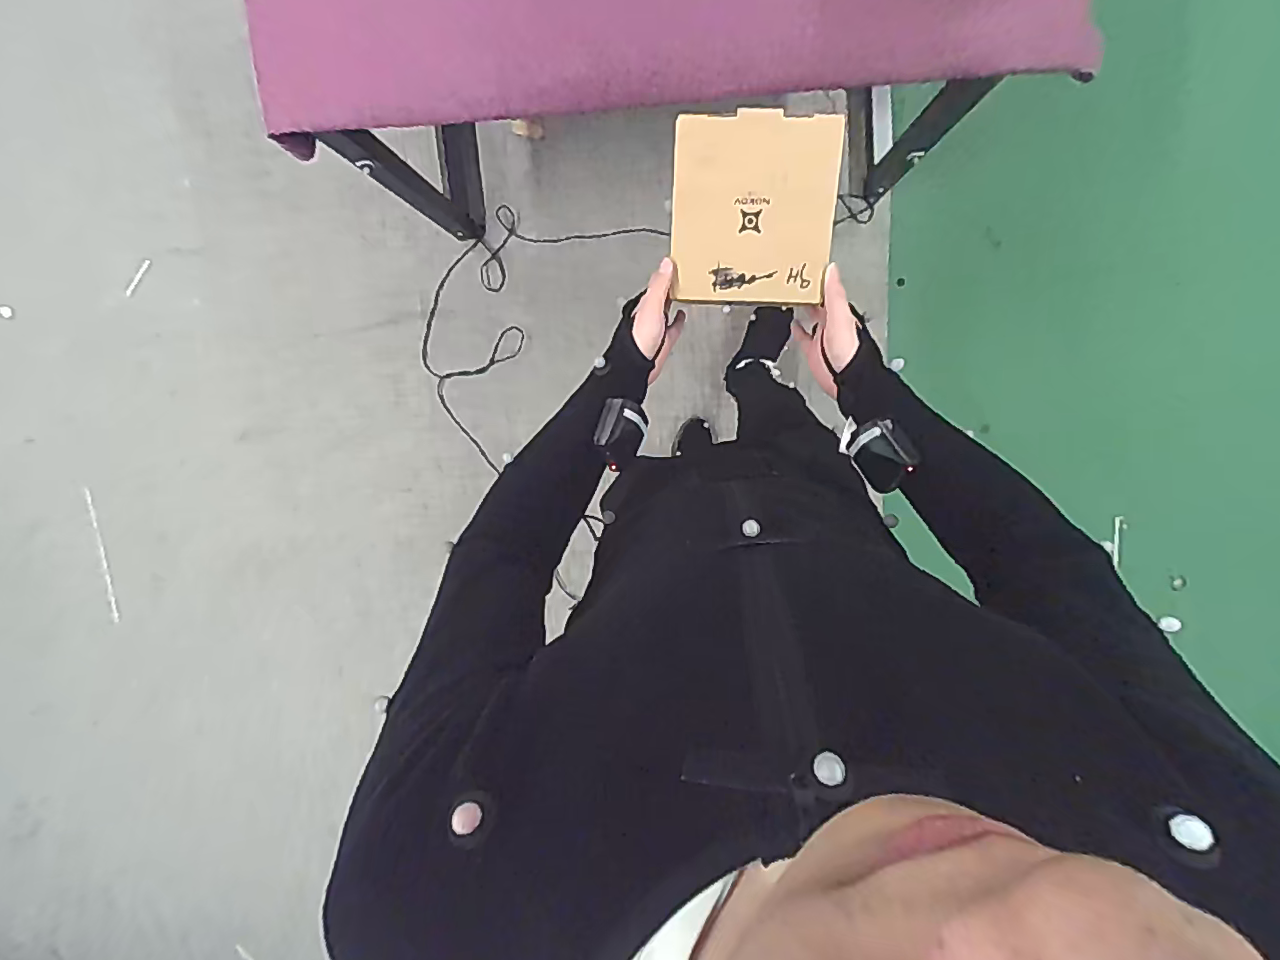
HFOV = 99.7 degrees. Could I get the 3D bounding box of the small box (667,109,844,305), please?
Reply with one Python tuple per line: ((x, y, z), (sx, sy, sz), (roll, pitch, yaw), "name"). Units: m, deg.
((0.121, -0.301, 0.628), (0.168, 0.176, 0.179), (4, 108, 6), "small box")
